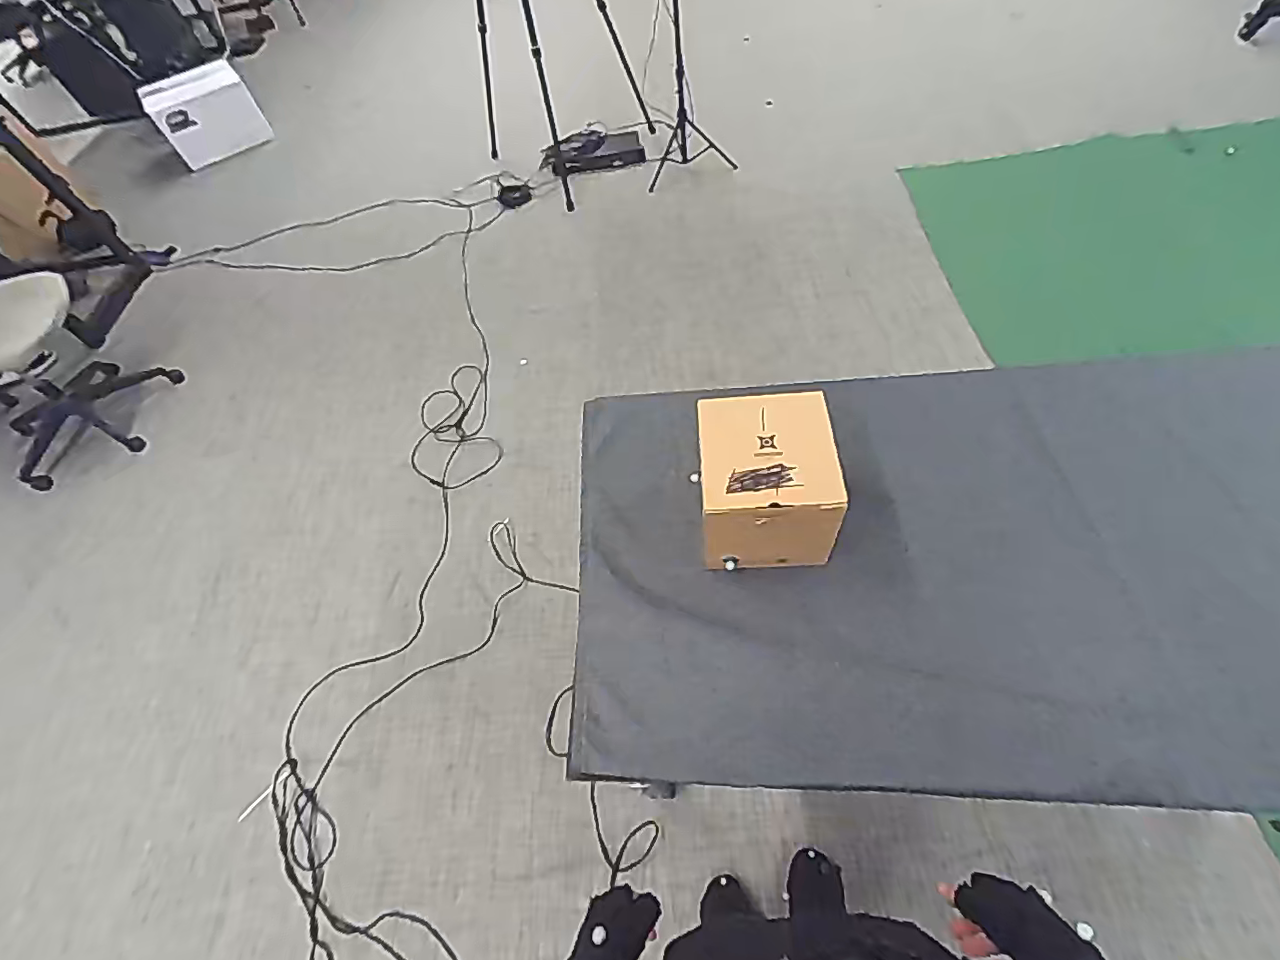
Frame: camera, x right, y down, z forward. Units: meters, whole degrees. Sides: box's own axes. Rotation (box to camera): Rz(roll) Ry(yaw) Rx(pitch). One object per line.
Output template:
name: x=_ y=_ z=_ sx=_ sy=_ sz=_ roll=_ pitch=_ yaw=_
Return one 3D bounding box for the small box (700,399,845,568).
small box: x=0.170 y=0.013 z=0.742 sx=0.168 sy=0.176 sz=0.179 roll=-3 pitch=55 yaw=7
